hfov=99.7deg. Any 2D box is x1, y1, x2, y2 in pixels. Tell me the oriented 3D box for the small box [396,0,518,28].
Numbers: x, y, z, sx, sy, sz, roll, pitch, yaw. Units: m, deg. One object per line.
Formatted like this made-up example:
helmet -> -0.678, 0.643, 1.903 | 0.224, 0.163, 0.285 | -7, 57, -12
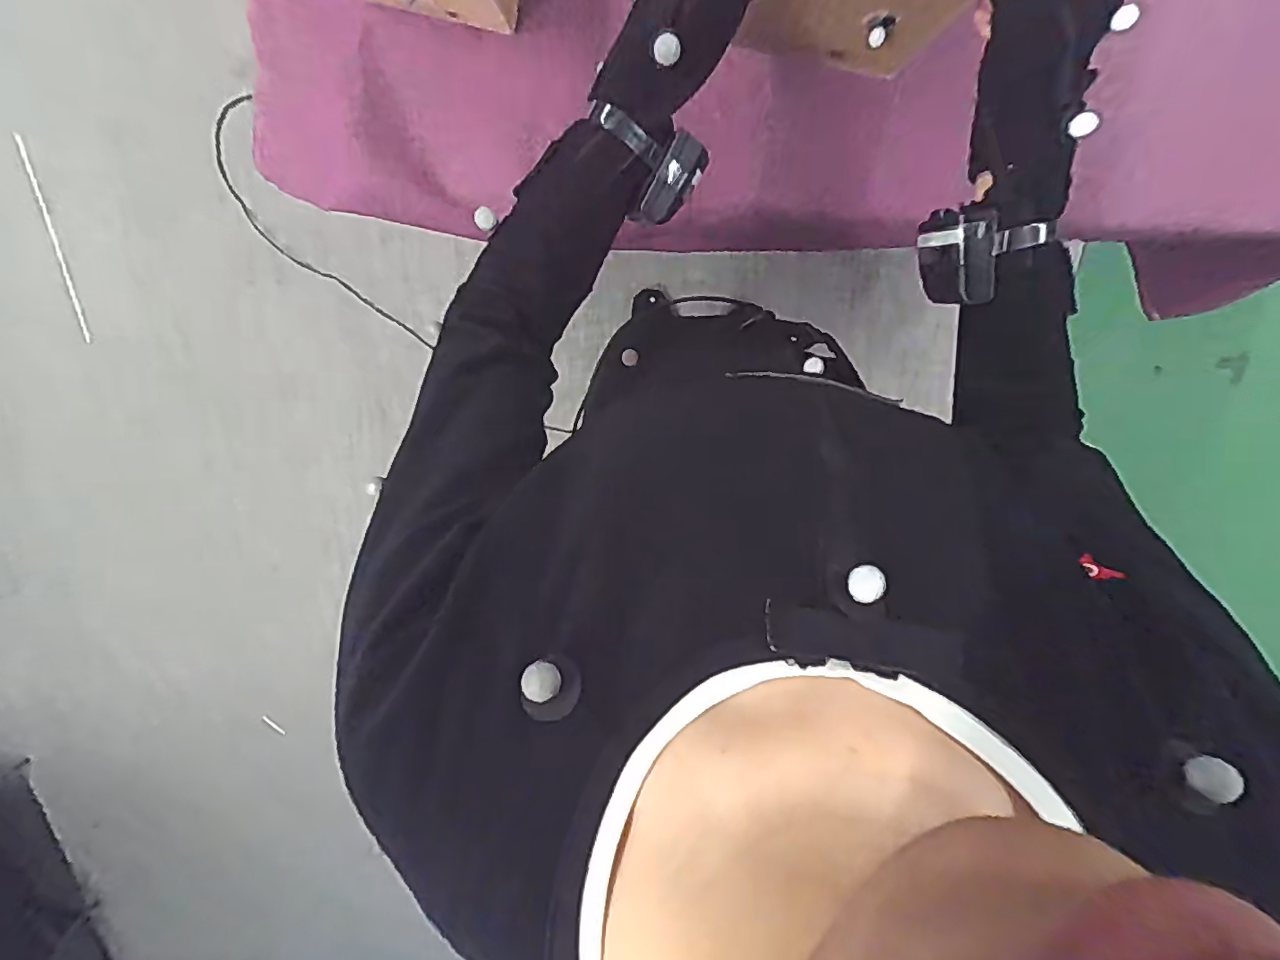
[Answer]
small box -> -0.195, -0.536, 0.463 | 0.168, 0.176, 0.179 | 12, 111, -2
